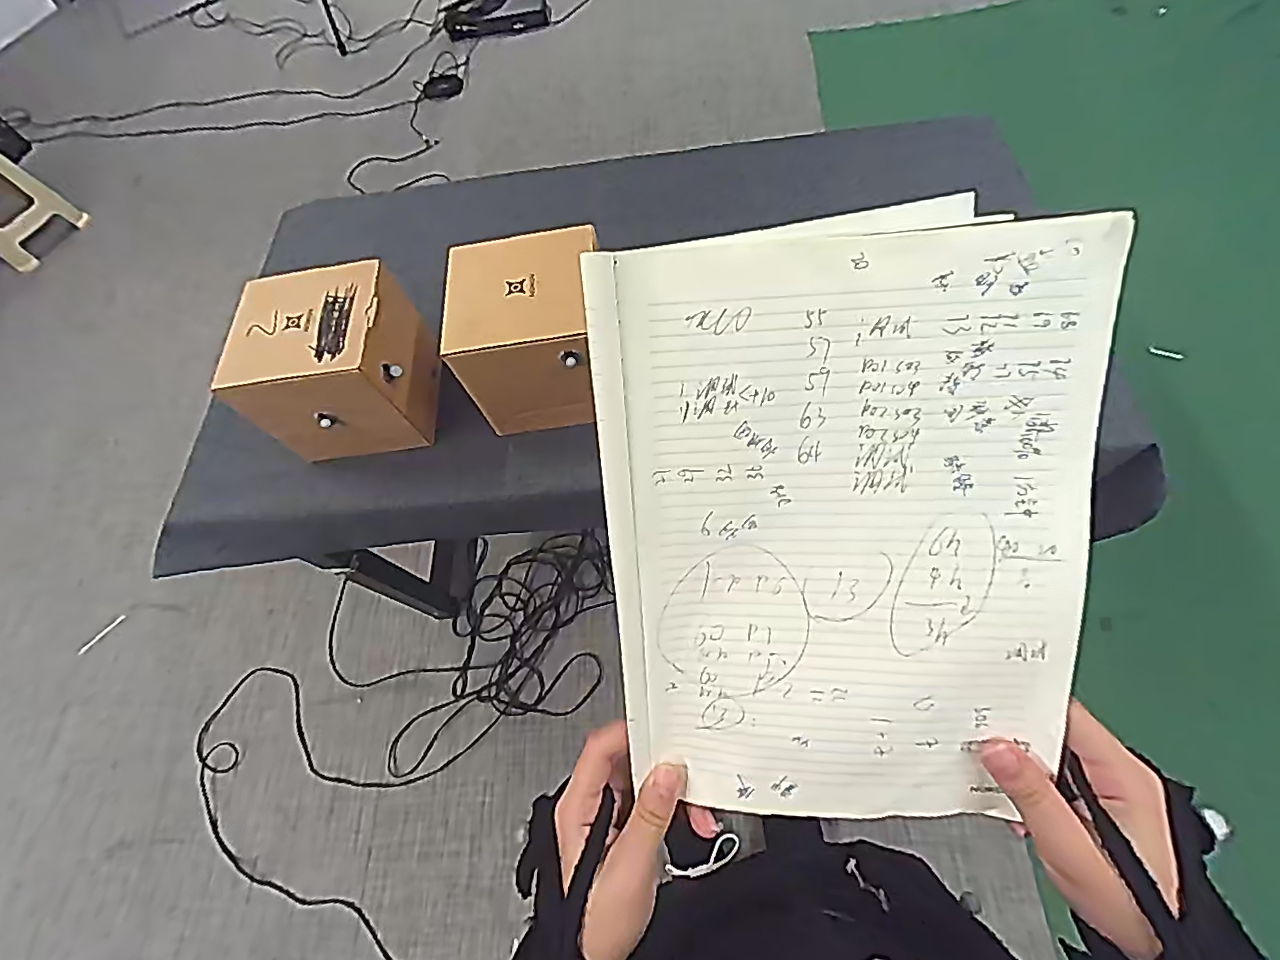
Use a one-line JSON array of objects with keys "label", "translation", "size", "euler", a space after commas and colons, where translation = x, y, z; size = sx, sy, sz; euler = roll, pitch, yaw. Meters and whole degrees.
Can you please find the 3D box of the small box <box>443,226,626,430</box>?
[{"label": "small box", "translation": [-0.120, -0.178, 0.673], "size": [0.179, 0.176, 0.168], "euler": [-8, 63, 4]}]
